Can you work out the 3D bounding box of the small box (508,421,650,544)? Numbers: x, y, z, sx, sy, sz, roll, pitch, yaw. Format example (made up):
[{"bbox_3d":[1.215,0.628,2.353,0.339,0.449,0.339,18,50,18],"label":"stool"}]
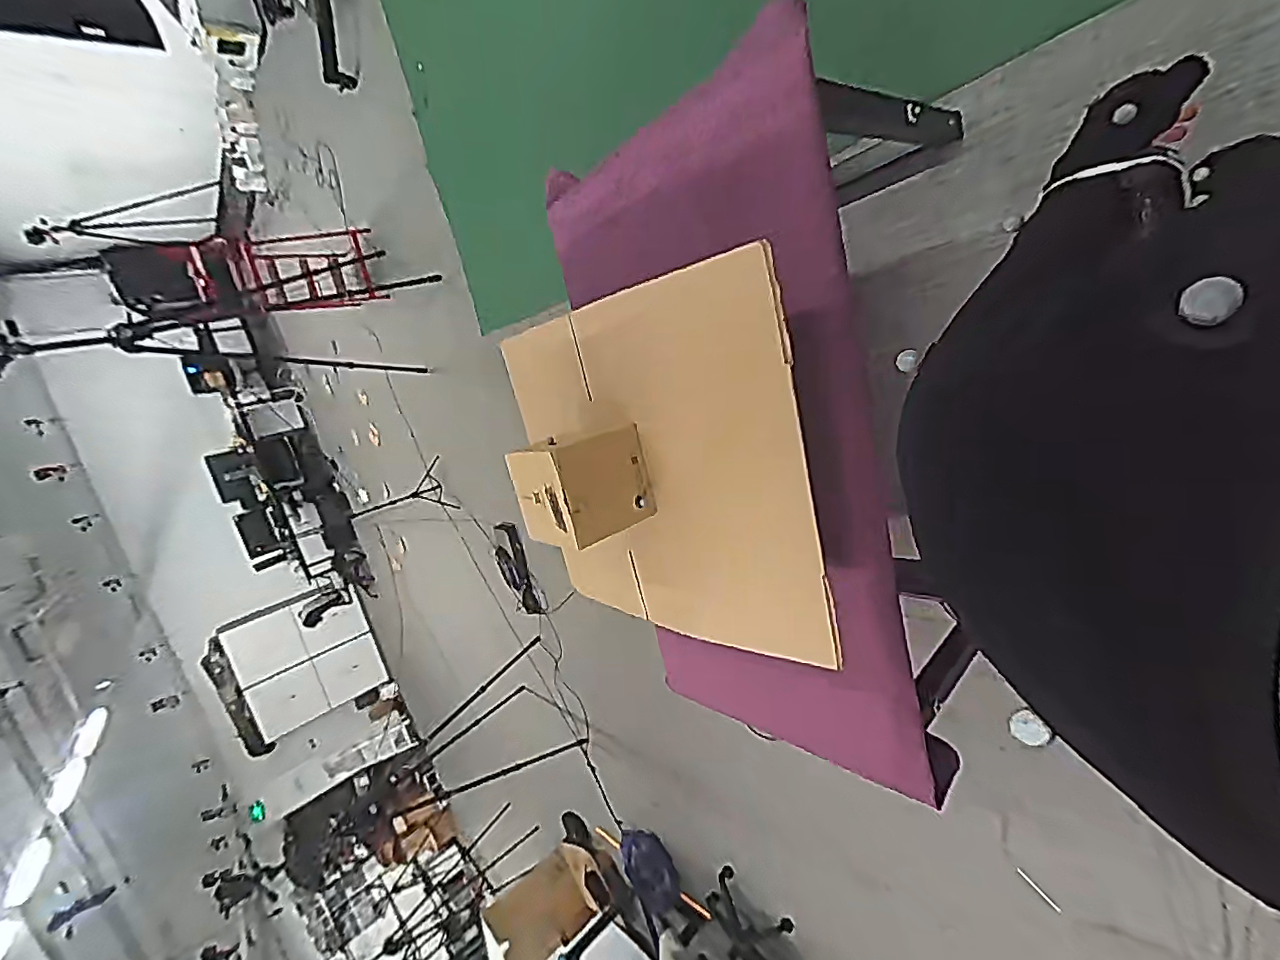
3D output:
[{"bbox_3d":[-0.100,-0.002,0.945,0.179,0.176,0.168,3,110,52],"label":"small box"}]
